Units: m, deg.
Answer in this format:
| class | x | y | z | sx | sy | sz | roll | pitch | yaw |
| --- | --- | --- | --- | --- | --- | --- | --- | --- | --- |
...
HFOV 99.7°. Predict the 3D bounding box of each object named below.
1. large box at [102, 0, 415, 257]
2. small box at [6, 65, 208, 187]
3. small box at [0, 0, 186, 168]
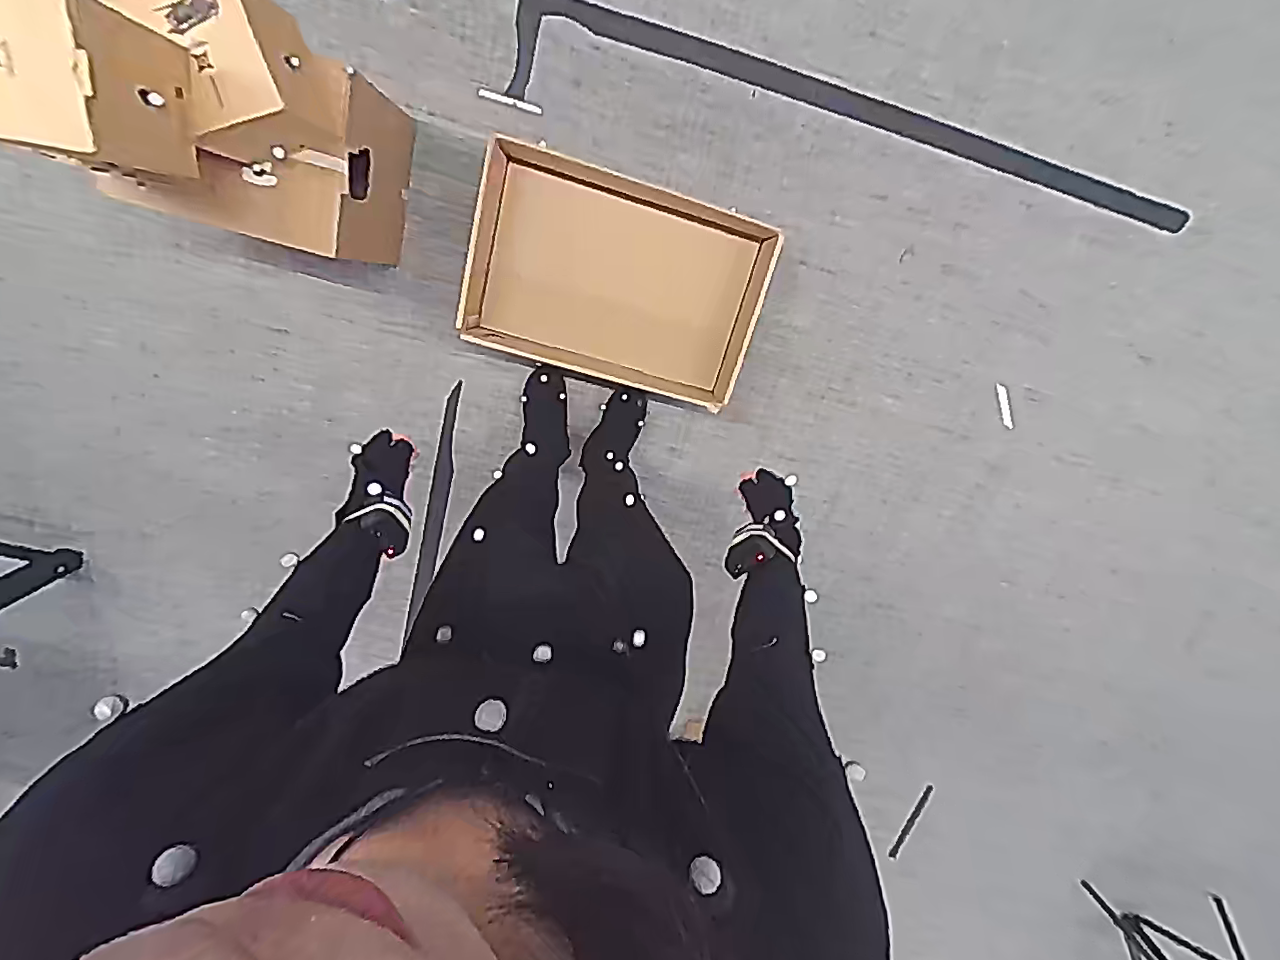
| class | x | y | z | sx | sy | sz | roll | pitch | yaw |
| --- | --- | --- | --- | --- | --- | --- | --- | --- | --- |
| large box | -0.706 | -0.649 | 1.050 | 0.408 | 0.320 | 0.320 | 13 | 110 | -8 |
| small box | -0.796 | -0.568 | 0.818 | 0.168 | 0.176 | 0.179 | 12 | 108 | -9 |
| small box | -0.710 | -0.503 | 0.670 | 0.179 | 0.176 | 0.168 | 8 | 110 | -5 |
